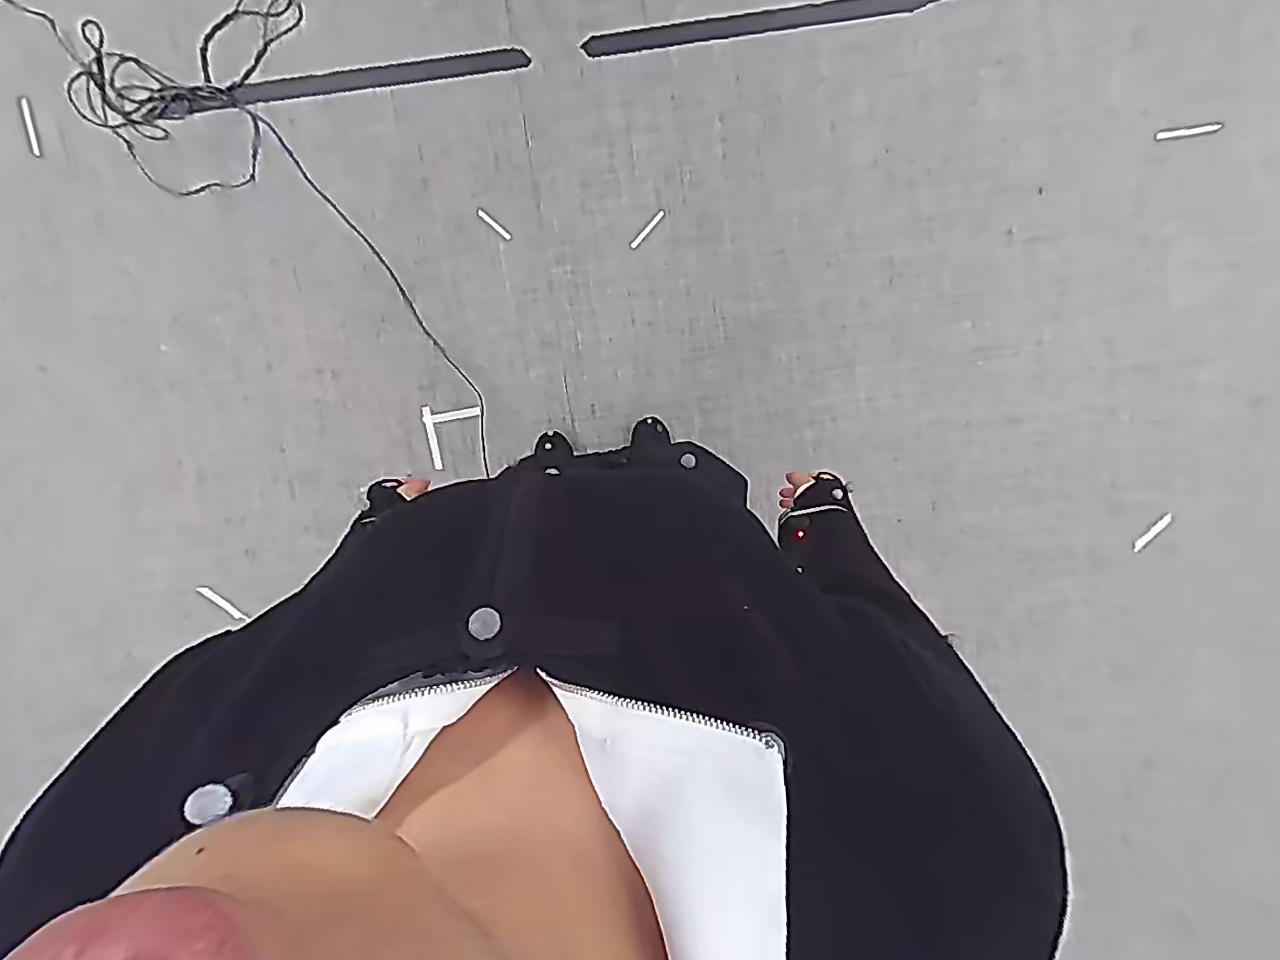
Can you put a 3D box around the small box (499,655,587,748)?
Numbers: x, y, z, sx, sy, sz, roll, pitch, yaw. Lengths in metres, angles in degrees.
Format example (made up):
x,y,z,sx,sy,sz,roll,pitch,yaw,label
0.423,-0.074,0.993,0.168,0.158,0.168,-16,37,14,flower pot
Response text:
x,y,z,sx,sy,sz,roll,pitch,yaw,label
-0.219,0.519,1.279,0.179,0.176,0.168,-7,97,0,small box

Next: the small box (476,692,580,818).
x,y,z,sx,sy,sz,roll,pitch,yaw,label
-0.221,0.558,1.119,0.179,0.176,0.168,-6,98,0,small box
